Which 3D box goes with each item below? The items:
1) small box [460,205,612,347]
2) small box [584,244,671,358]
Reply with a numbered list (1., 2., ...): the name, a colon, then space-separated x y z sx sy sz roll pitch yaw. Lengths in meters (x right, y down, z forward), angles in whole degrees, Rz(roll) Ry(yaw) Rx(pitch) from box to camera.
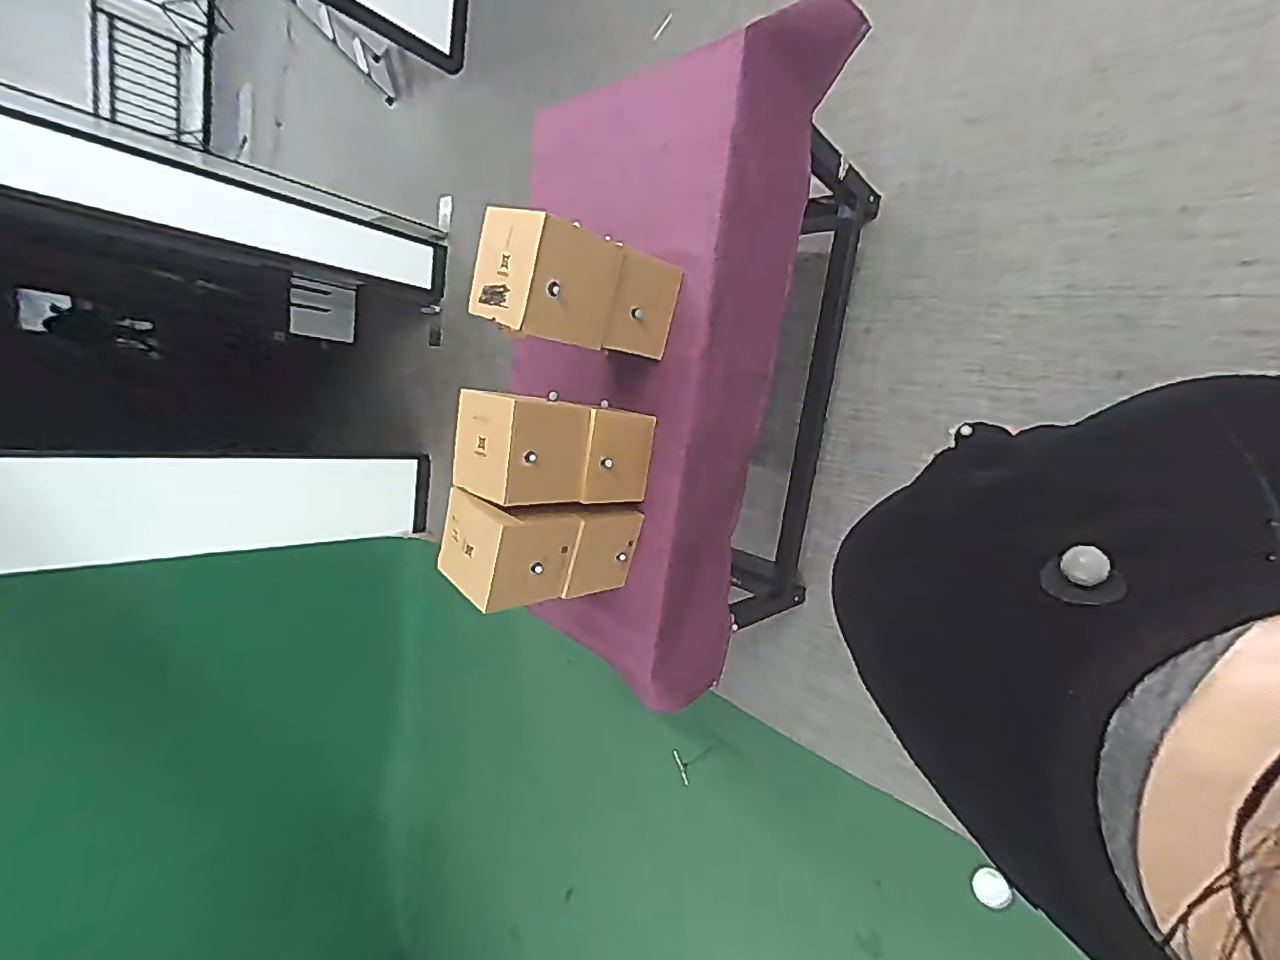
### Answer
1. small box: -0.170 -0.332 0.897 0.168 0.176 0.179 28 108 38
2. small box: -0.064 -0.337 1.023 0.168 0.176 0.179 25 107 38
